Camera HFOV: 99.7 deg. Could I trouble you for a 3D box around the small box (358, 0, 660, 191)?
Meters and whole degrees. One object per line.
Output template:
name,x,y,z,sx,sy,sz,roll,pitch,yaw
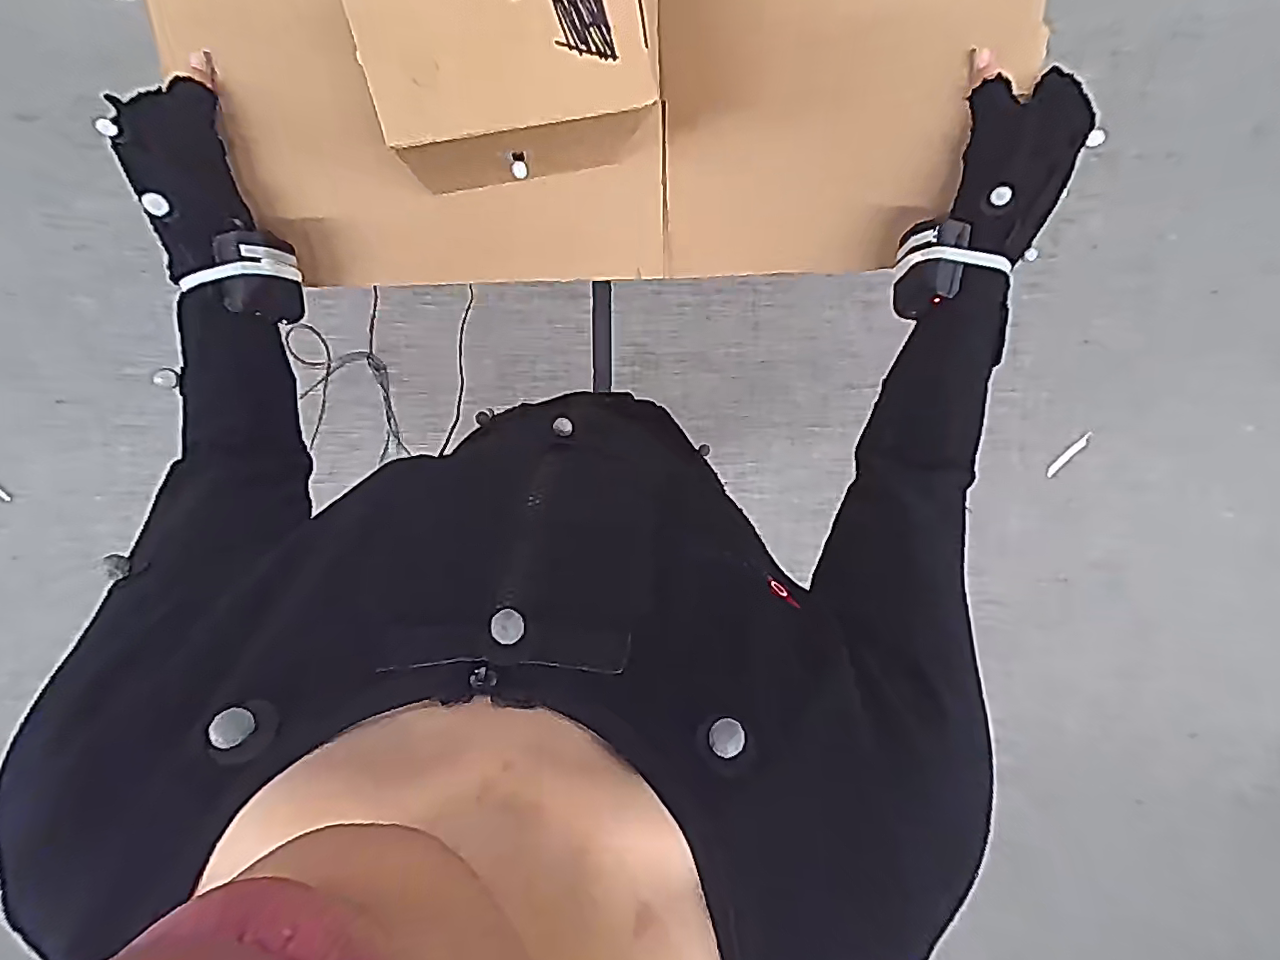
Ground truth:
small box,-0.099,-0.329,0.399,0.179,0.176,0.168,-14,110,-7
